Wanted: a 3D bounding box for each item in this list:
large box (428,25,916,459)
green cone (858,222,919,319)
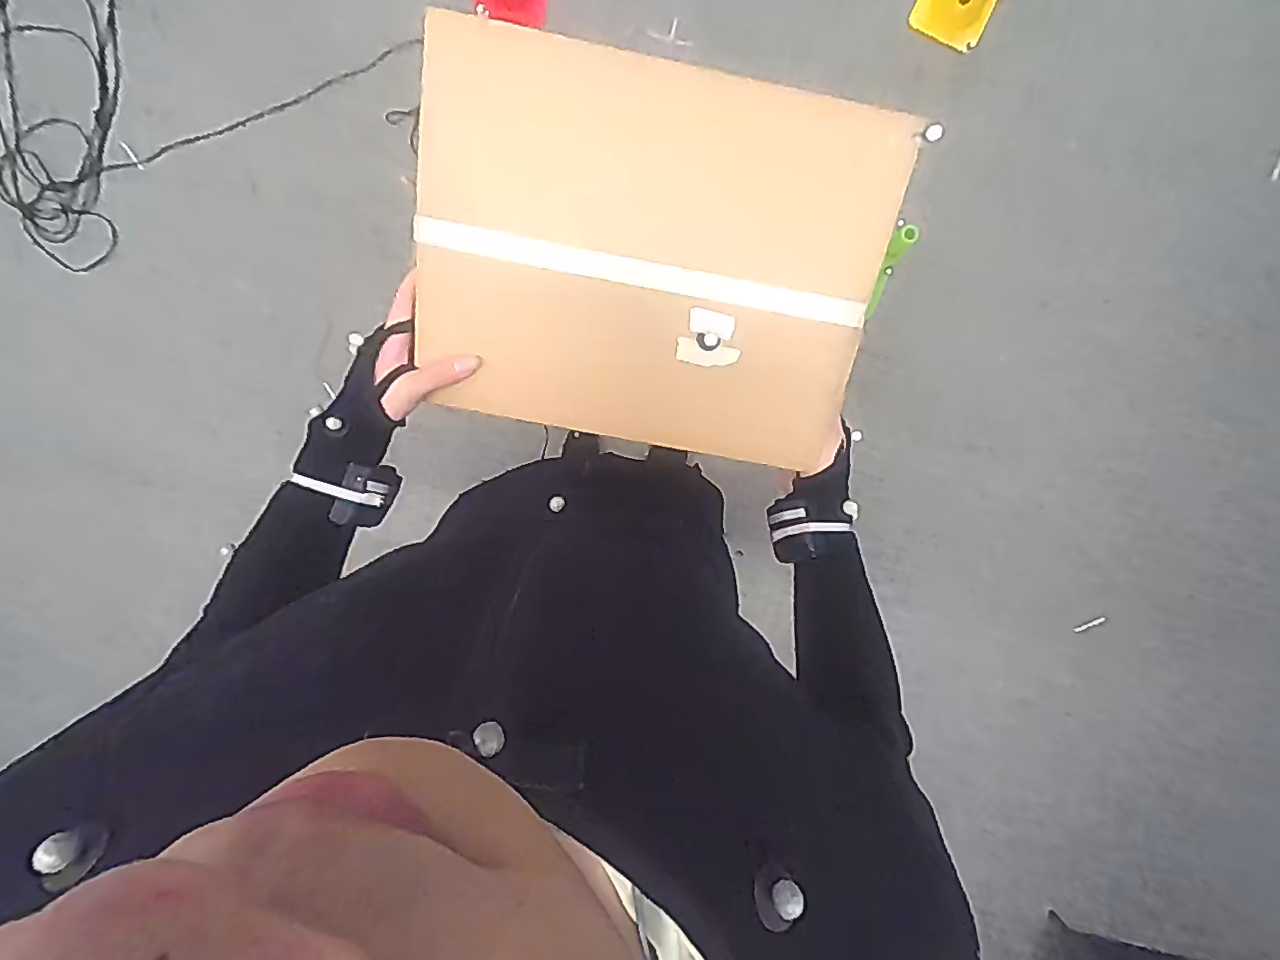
[{"bbox_3d":[0.009,-0.243,0.629,0.408,0.320,0.320,10,111,-4],"label":"large box"},{"bbox_3d":[0.608,-0.570,1.388,0.200,0.368,0.202,21,95,-2],"label":"green cone"}]
